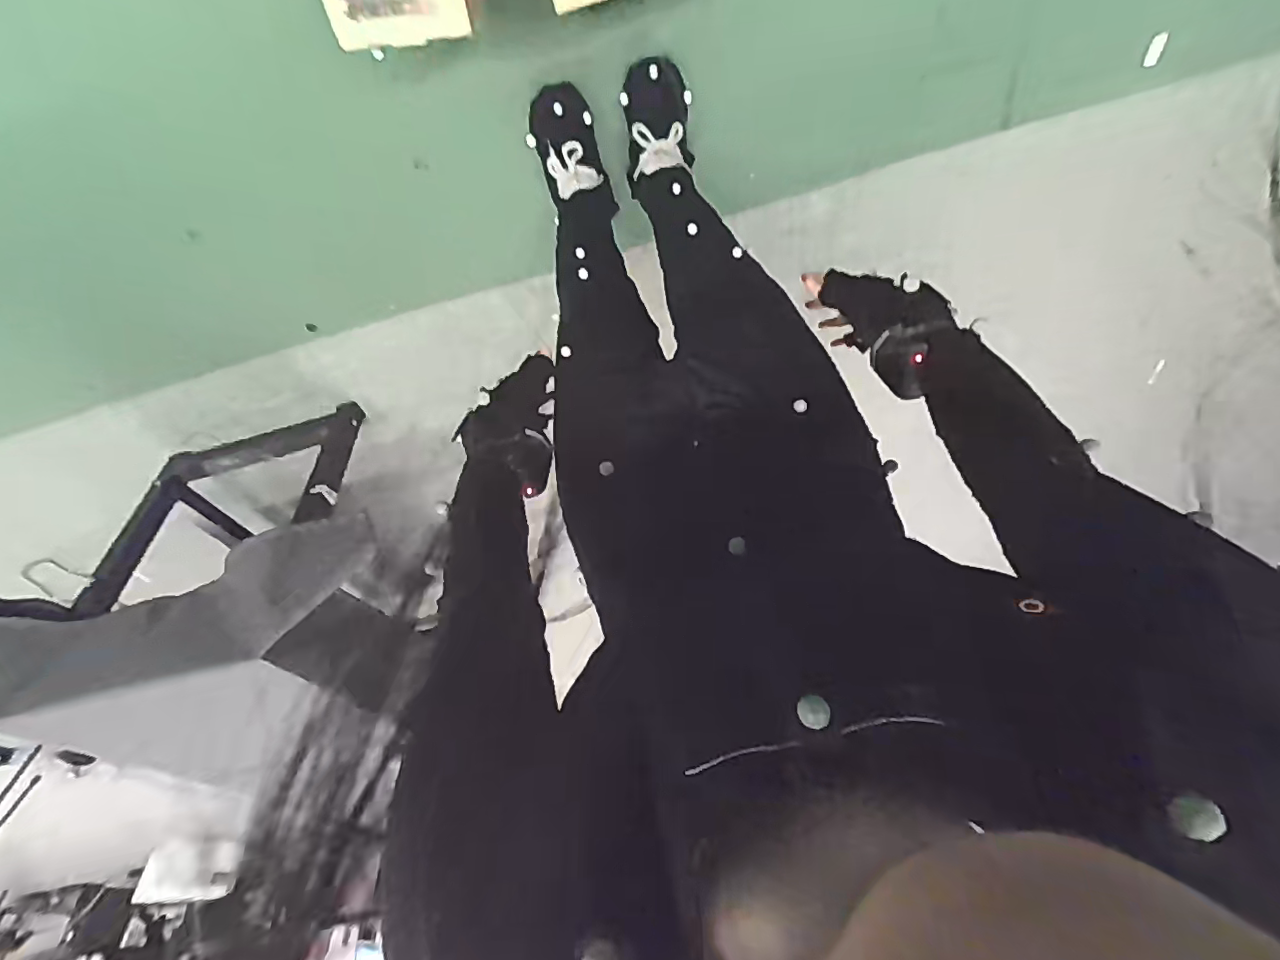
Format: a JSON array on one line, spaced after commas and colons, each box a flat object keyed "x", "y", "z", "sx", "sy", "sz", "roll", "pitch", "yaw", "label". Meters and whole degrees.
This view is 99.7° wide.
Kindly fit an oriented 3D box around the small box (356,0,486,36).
[{"x": -0.326, "y": -0.767, "z": 0.775, "sx": 0.168, "sy": 0.176, "sz": 0.179, "roll": -6, "pitch": 138, "yaw": -2, "label": "small box"}]
